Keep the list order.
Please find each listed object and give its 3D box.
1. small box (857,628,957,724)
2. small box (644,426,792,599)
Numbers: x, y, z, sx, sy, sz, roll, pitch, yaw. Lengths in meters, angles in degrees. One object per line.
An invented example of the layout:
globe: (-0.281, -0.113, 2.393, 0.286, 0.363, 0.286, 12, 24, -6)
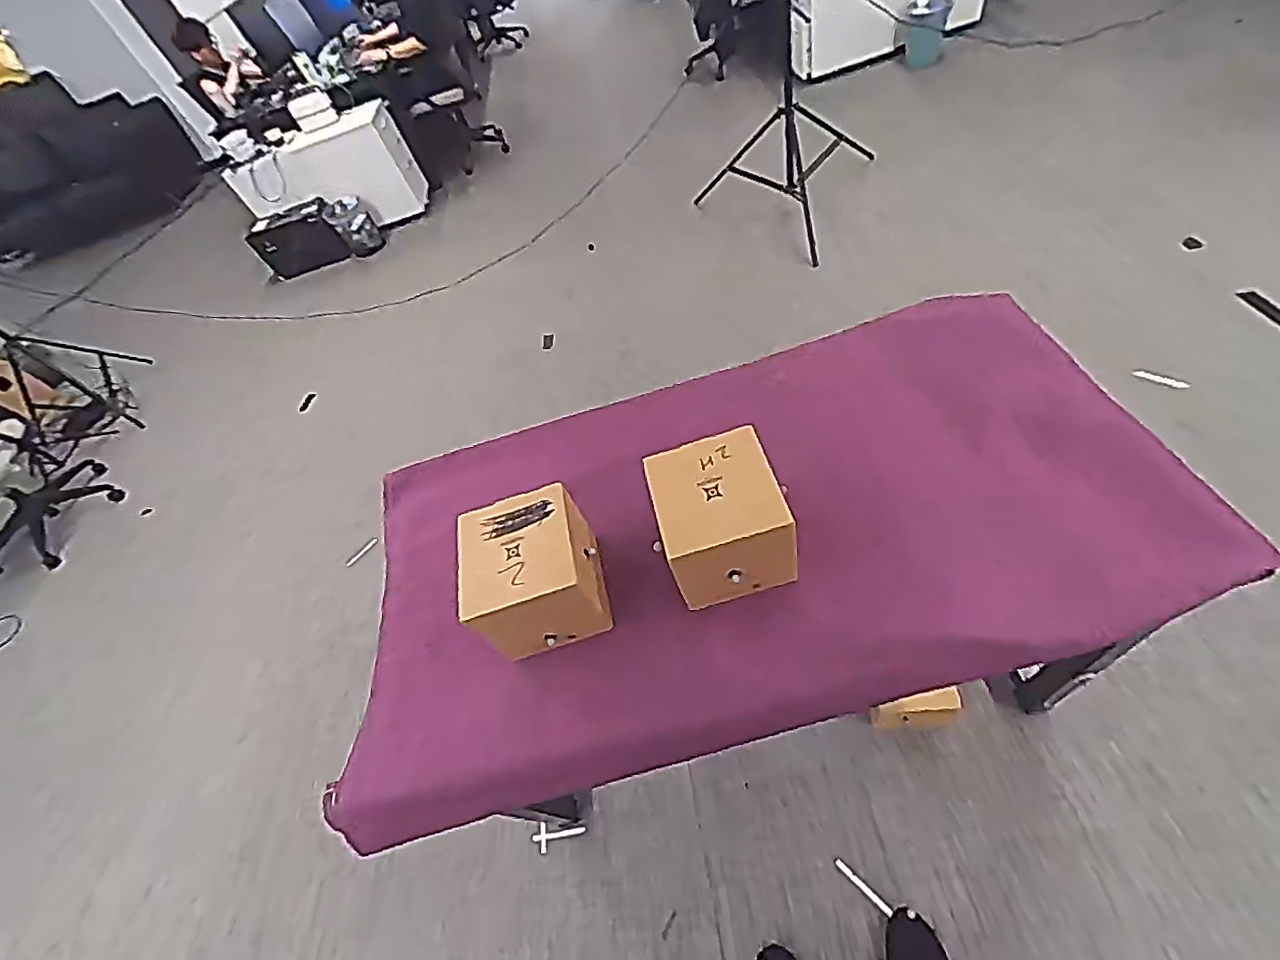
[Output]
small box: (0.614, 0.465, 1.267, 0.168, 0.176, 0.179, -9, 52, 12)
small box: (0.117, 0.057, 0.789, 0.168, 0.176, 0.179, -17, 51, 4)
